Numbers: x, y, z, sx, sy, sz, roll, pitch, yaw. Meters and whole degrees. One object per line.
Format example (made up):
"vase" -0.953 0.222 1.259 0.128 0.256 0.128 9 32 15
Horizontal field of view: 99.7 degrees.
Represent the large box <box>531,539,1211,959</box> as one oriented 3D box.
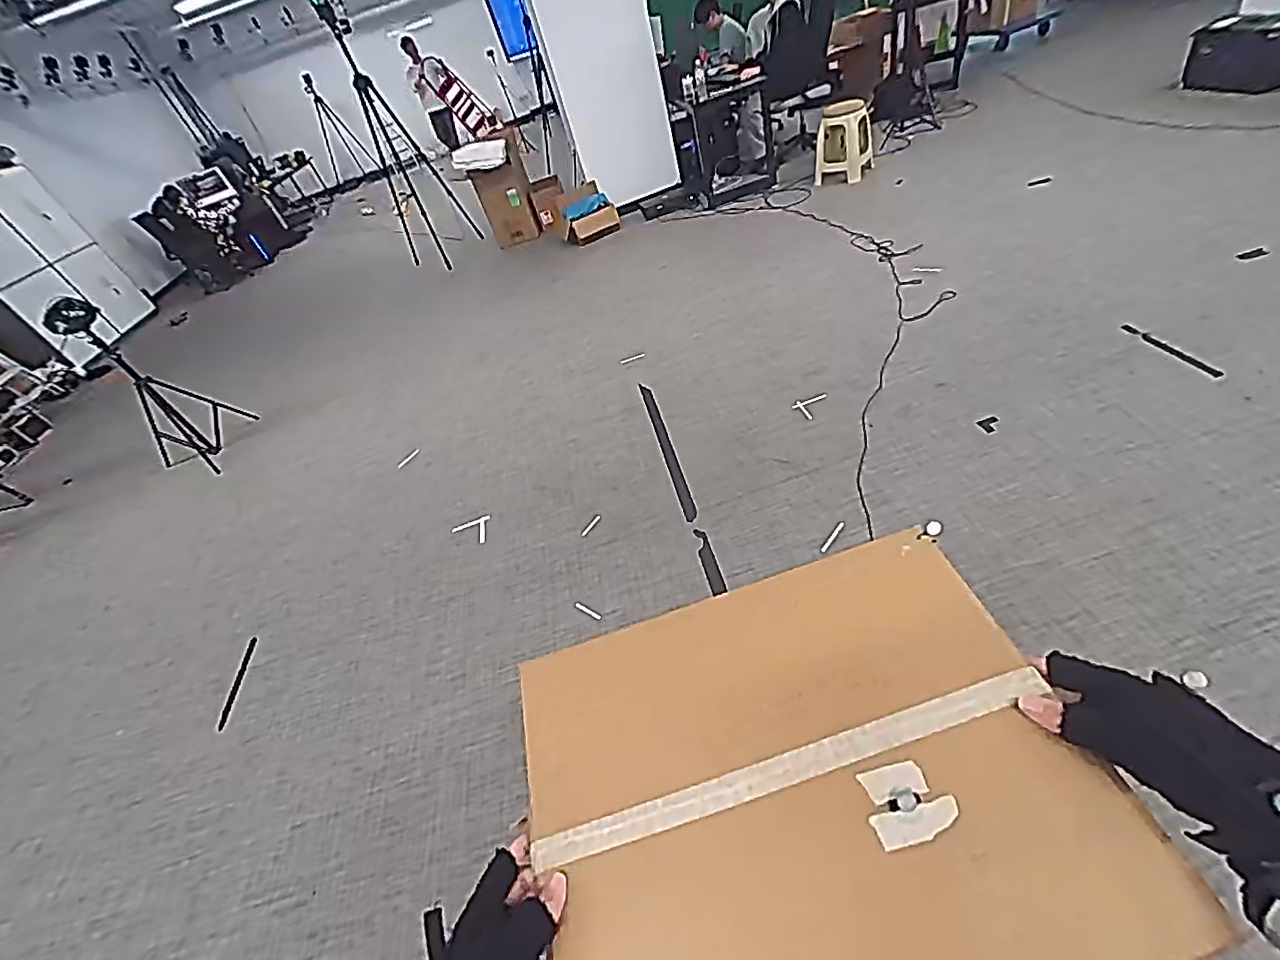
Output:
"large box" 0.151 0.324 0.527 0.408 0.320 0.320 -20 47 0
